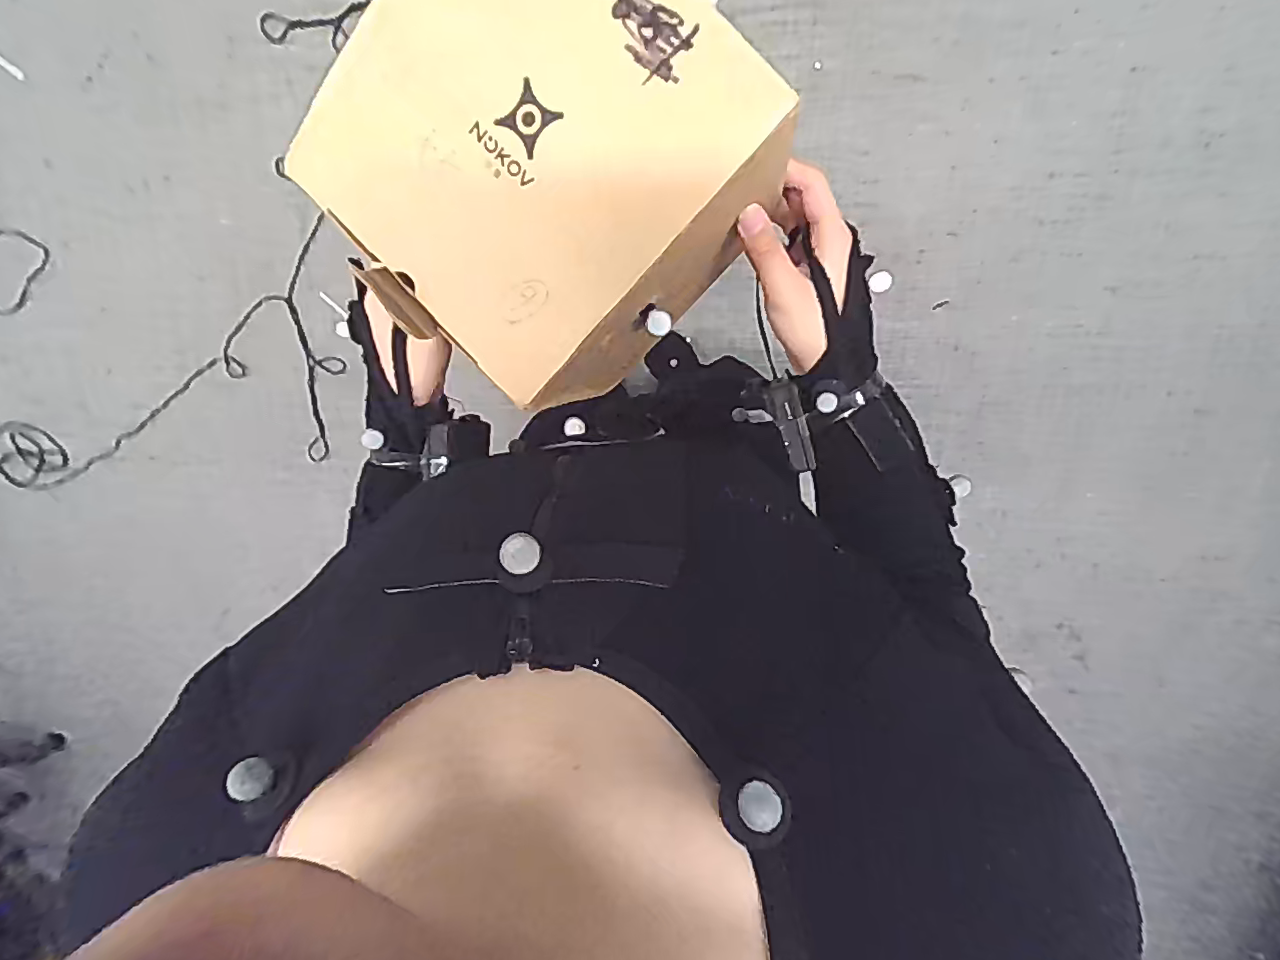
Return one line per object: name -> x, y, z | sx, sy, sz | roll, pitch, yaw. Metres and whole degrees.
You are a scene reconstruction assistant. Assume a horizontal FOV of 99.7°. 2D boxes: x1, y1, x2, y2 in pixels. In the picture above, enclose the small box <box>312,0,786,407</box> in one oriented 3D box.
small box -> -0.035, -0.165, 0.324 | 0.168, 0.176, 0.179 | 46, 106, -1
